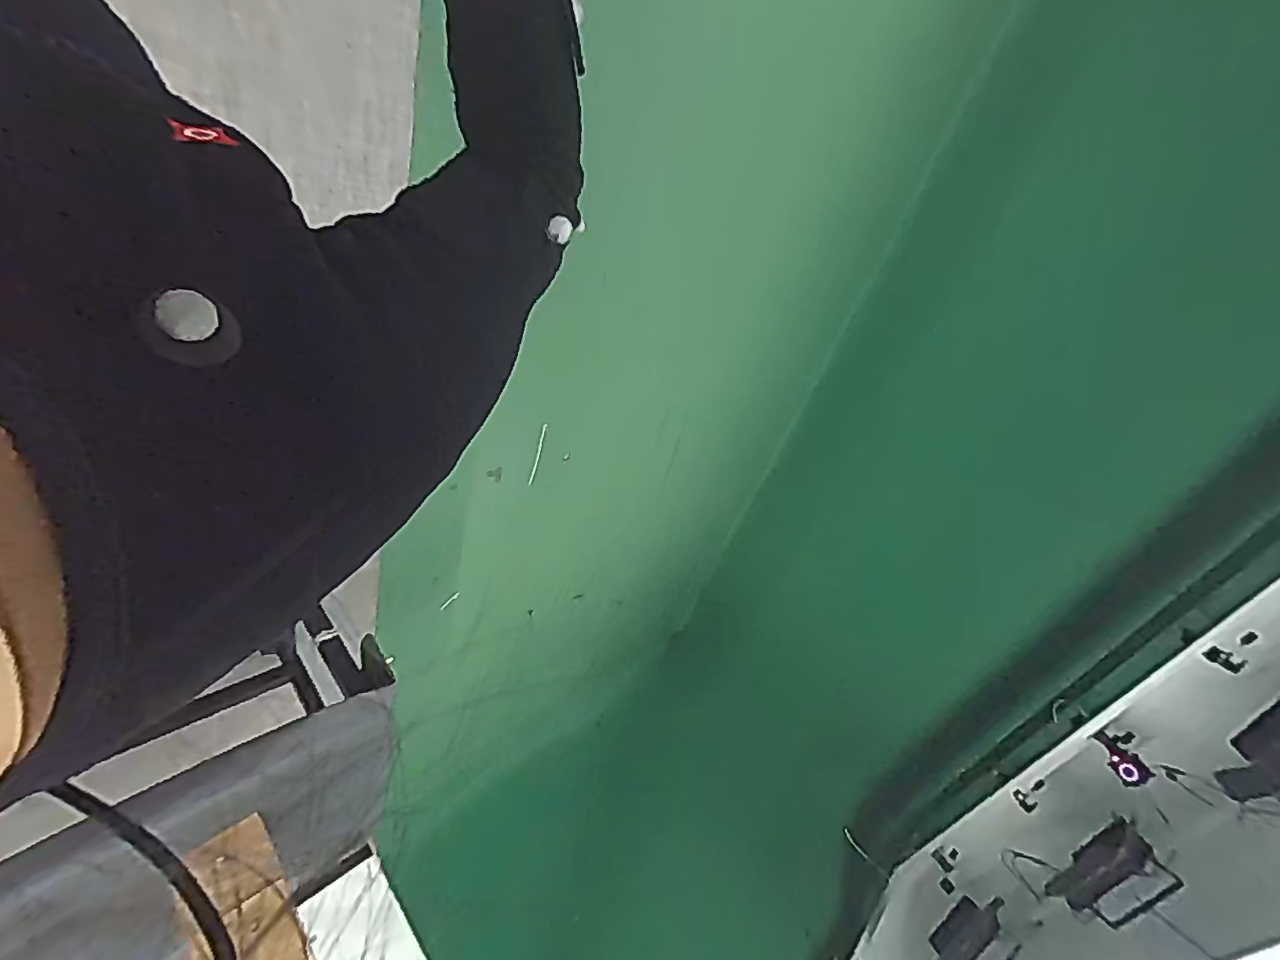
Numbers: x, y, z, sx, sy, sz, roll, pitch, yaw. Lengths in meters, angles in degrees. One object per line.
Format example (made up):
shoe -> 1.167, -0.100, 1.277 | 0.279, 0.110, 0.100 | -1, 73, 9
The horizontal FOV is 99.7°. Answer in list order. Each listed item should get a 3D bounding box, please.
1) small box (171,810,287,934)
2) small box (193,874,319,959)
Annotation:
small box -> -0.893, 0.876, 1.192 | 0.168, 0.176, 0.179 | -23, 142, -41
small box -> -0.783, 0.962, 1.111 | 0.168, 0.176, 0.179 | -21, 141, -42
